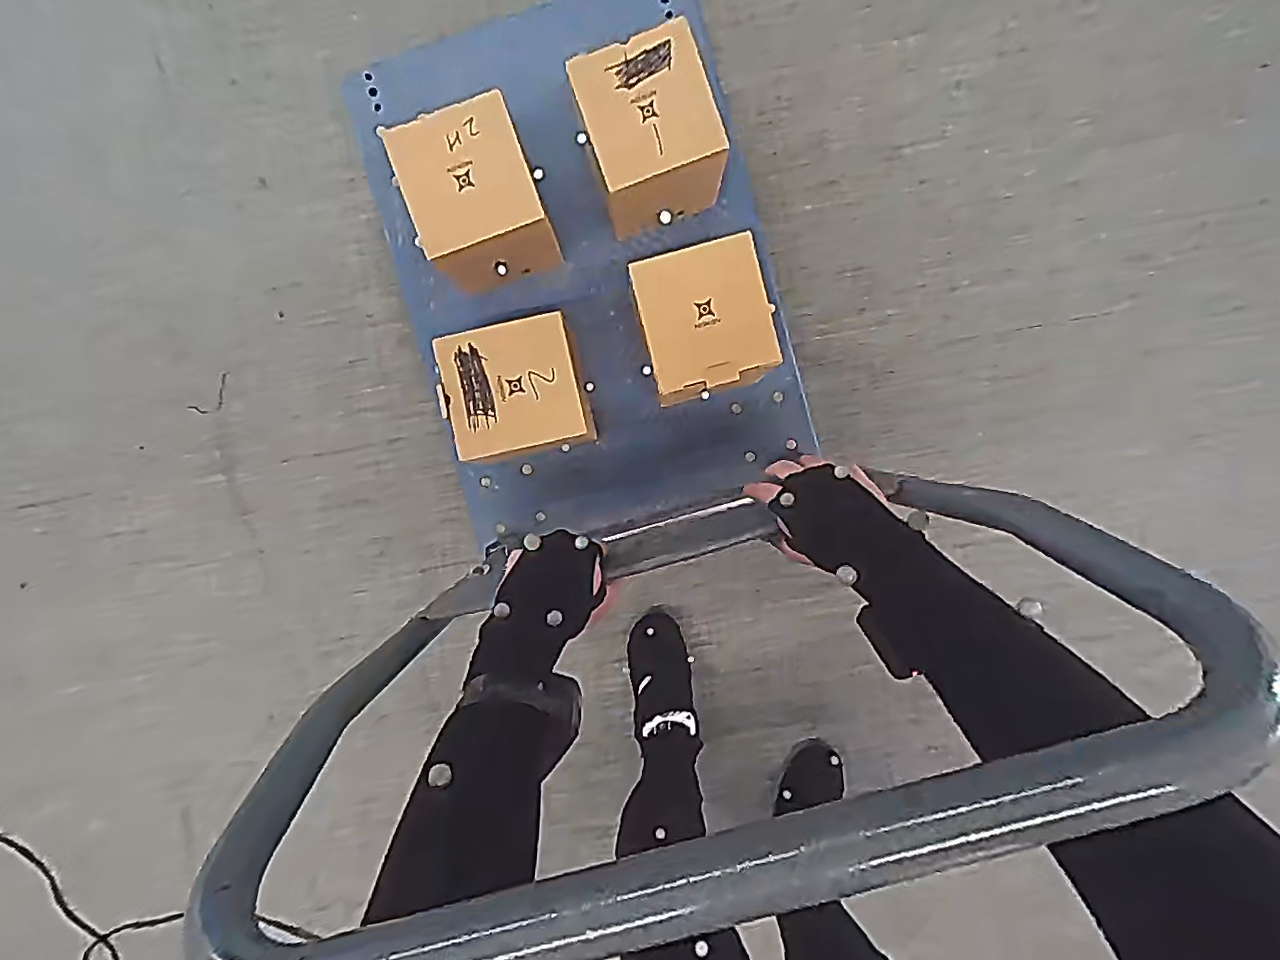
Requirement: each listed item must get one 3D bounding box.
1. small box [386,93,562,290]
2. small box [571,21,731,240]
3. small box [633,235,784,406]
[{"bbox_3d":[-0.222,-0.391,0.774,0.168,0.176,0.179,-19,92,1],"label":"small box"},{"bbox_3d":[0.015,-0.476,0.765,0.168,0.176,0.179,-19,93,3],"label":"small box"},{"bbox_3d":[0.088,-0.216,0.777,0.168,0.176,0.179,-15,93,2],"label":"small box"}]
